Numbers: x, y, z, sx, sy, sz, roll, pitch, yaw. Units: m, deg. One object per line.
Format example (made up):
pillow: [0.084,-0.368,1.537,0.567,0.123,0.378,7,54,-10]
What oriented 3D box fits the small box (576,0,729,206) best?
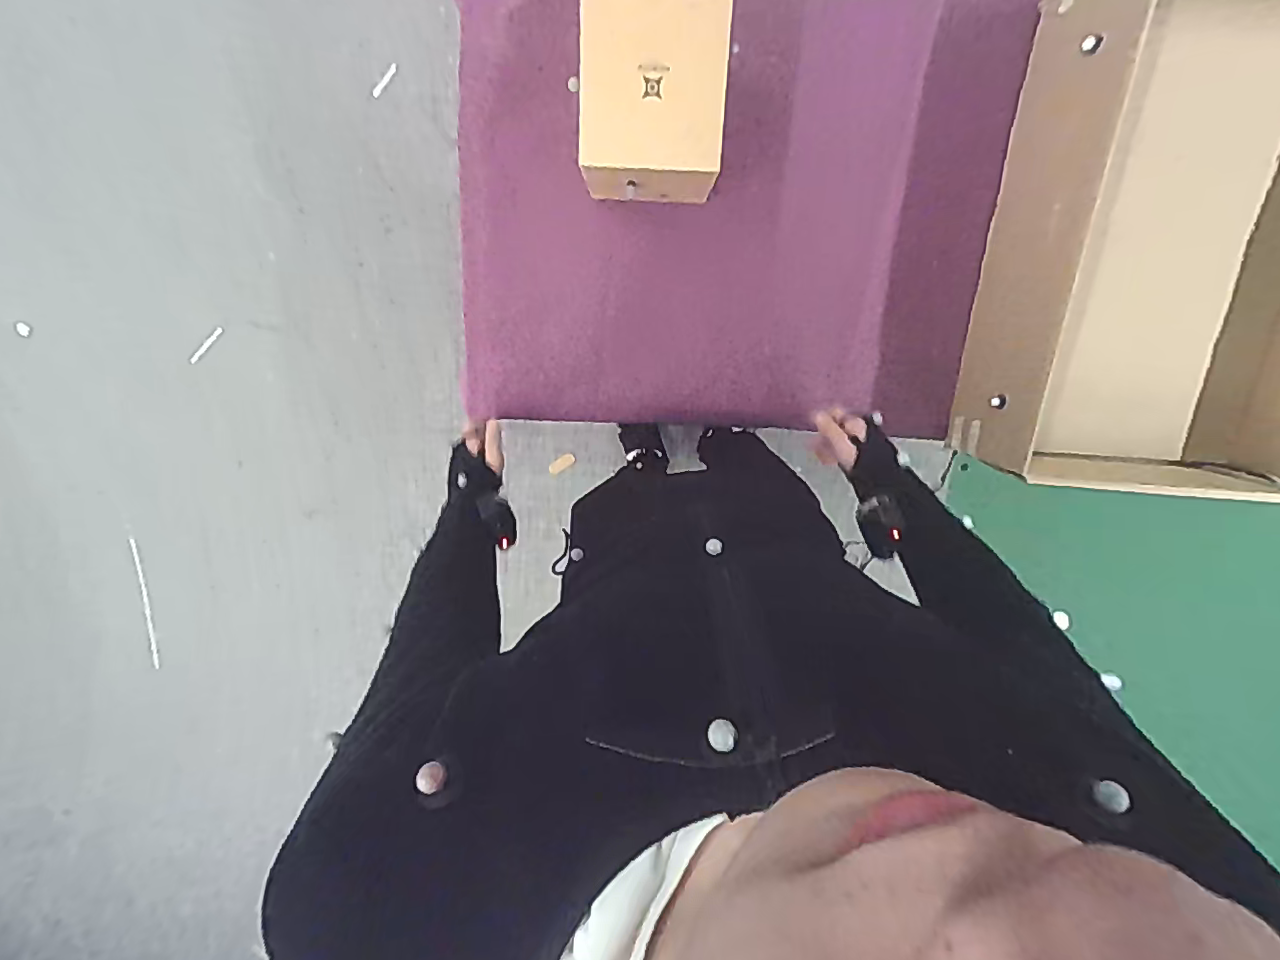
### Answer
small box: [0.014,-0.459,0.680,0.168,0.176,0.179,2,104,0]
